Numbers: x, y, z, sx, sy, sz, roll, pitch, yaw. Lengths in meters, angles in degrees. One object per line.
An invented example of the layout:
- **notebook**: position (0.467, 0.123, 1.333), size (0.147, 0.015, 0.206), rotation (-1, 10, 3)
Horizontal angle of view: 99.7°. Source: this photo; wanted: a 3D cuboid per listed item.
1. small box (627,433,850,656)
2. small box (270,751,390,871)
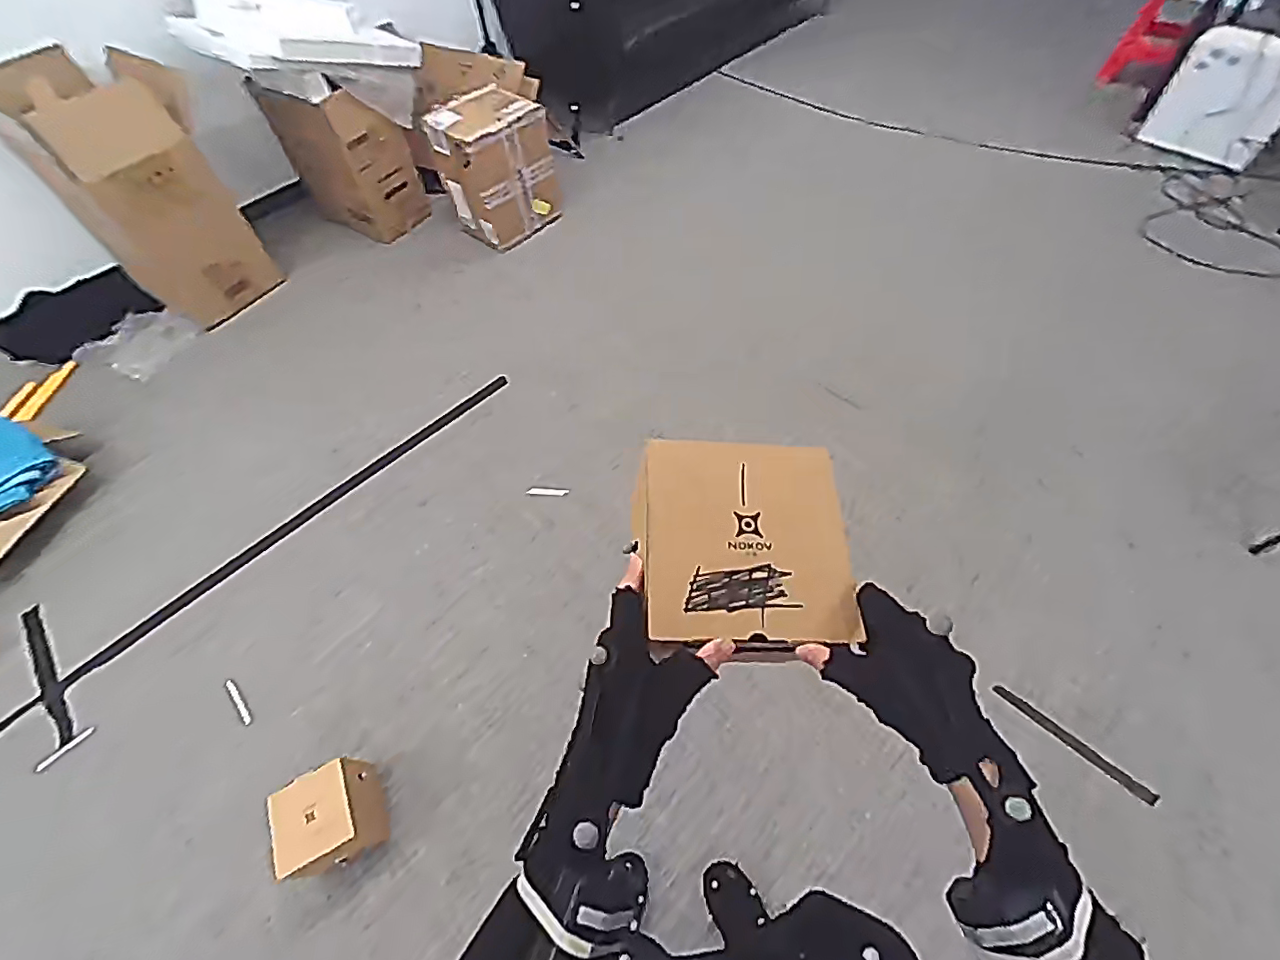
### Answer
- **small box**: position (0.077, 0.073, 0.519), size (0.168, 0.176, 0.179), rotation (3, 67, -6)
- **small box**: position (-0.704, 0.756, 1.239), size (0.168, 0.176, 0.179), rotation (-27, 59, -11)
